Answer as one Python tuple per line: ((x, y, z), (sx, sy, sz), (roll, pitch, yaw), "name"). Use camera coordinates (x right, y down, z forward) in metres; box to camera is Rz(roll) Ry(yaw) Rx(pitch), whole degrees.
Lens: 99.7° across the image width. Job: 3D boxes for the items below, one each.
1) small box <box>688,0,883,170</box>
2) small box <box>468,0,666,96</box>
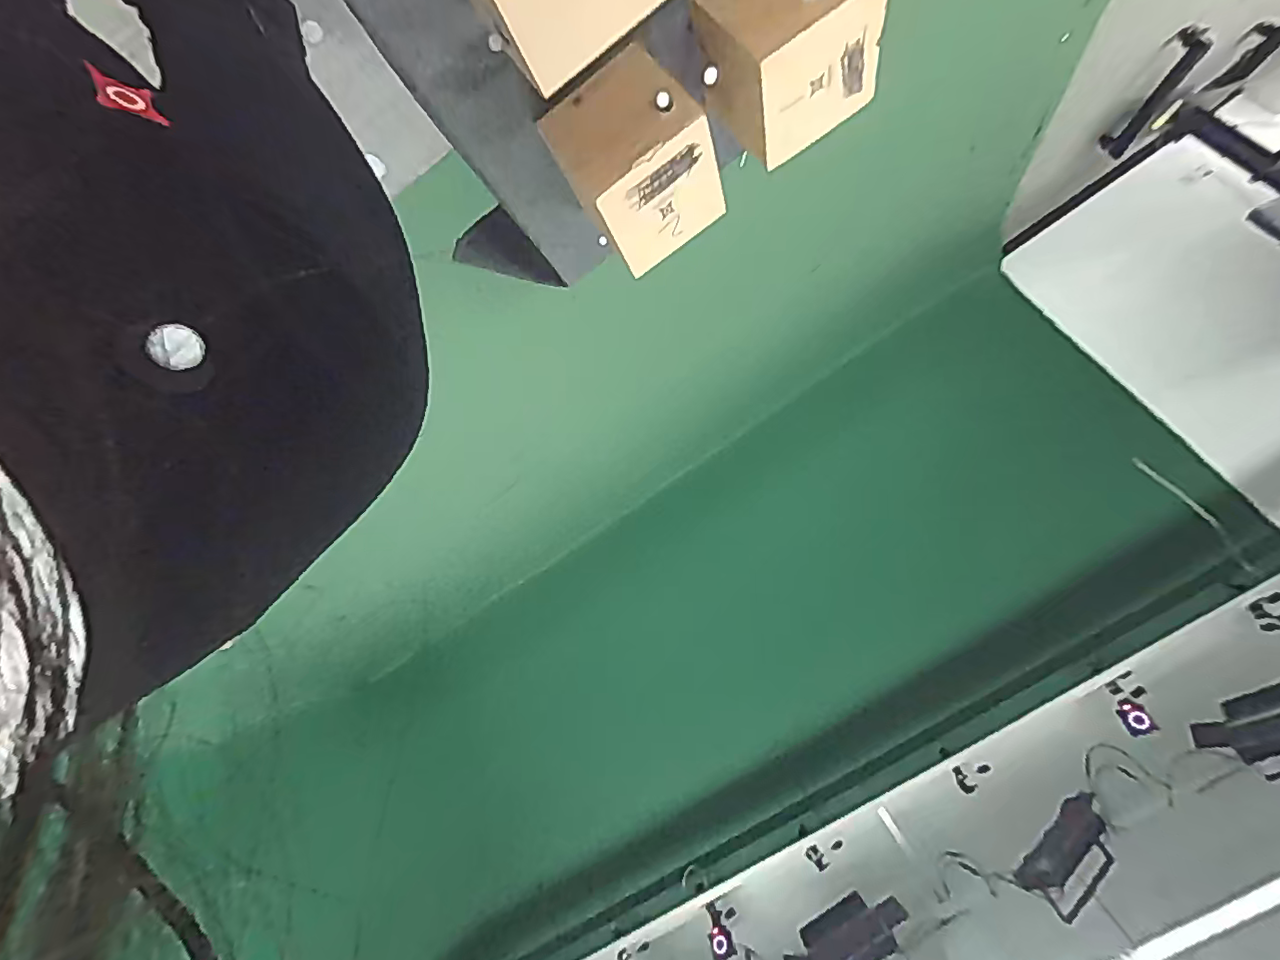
((0.188, -0.572, 0.717), (0.179, 0.176, 0.168), (-33, 159, 5), "small box")
((-0.095, -0.503, 0.471), (0.168, 0.176, 0.179), (-36, 159, 7), "small box")
